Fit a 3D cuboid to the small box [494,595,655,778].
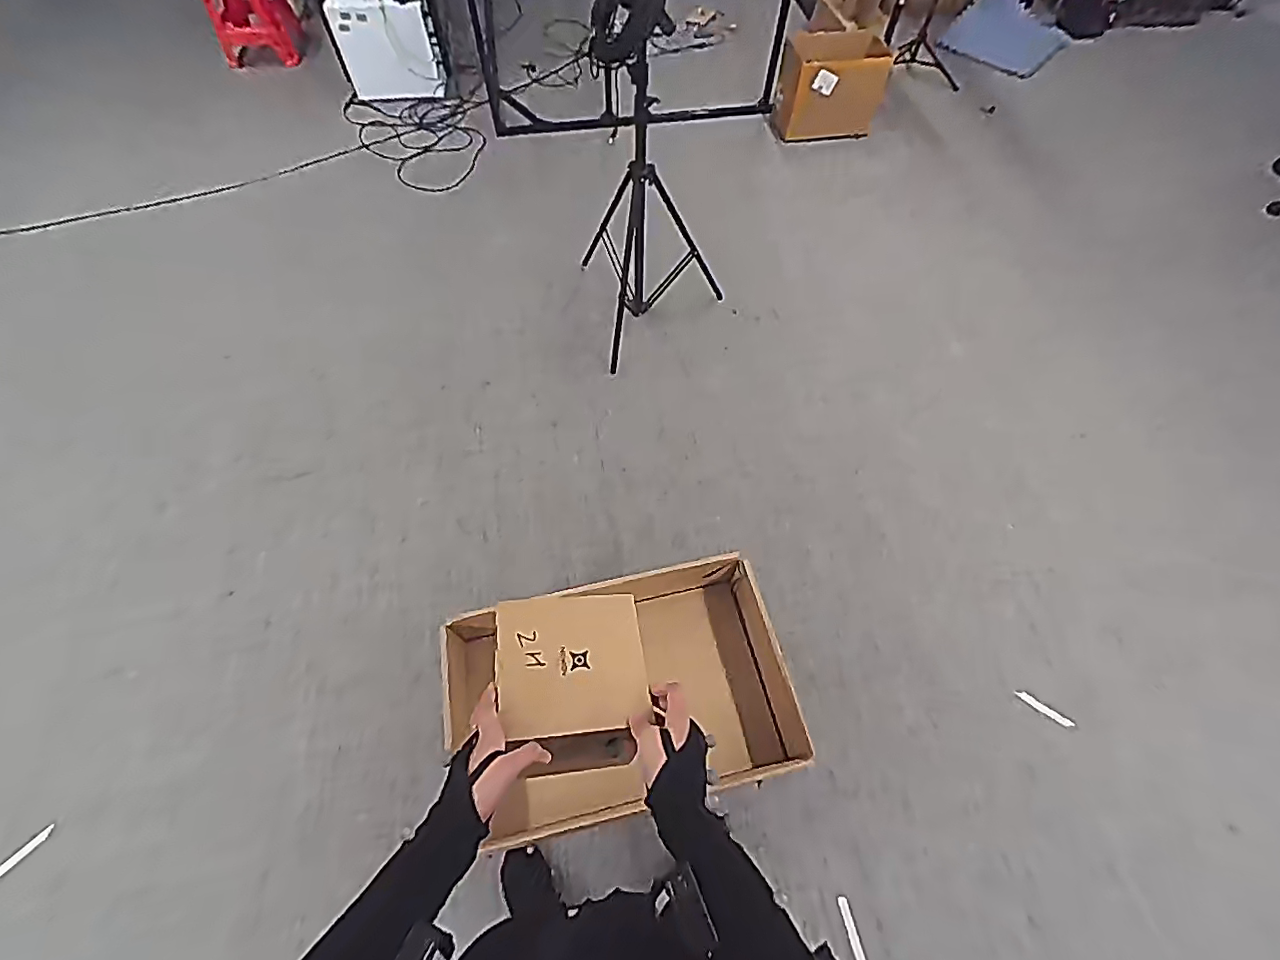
[{"bbox_3d":[-0.094,0.263,0.689,0.179,0.176,0.168,-1,49,-14],"label":"small box"}]
